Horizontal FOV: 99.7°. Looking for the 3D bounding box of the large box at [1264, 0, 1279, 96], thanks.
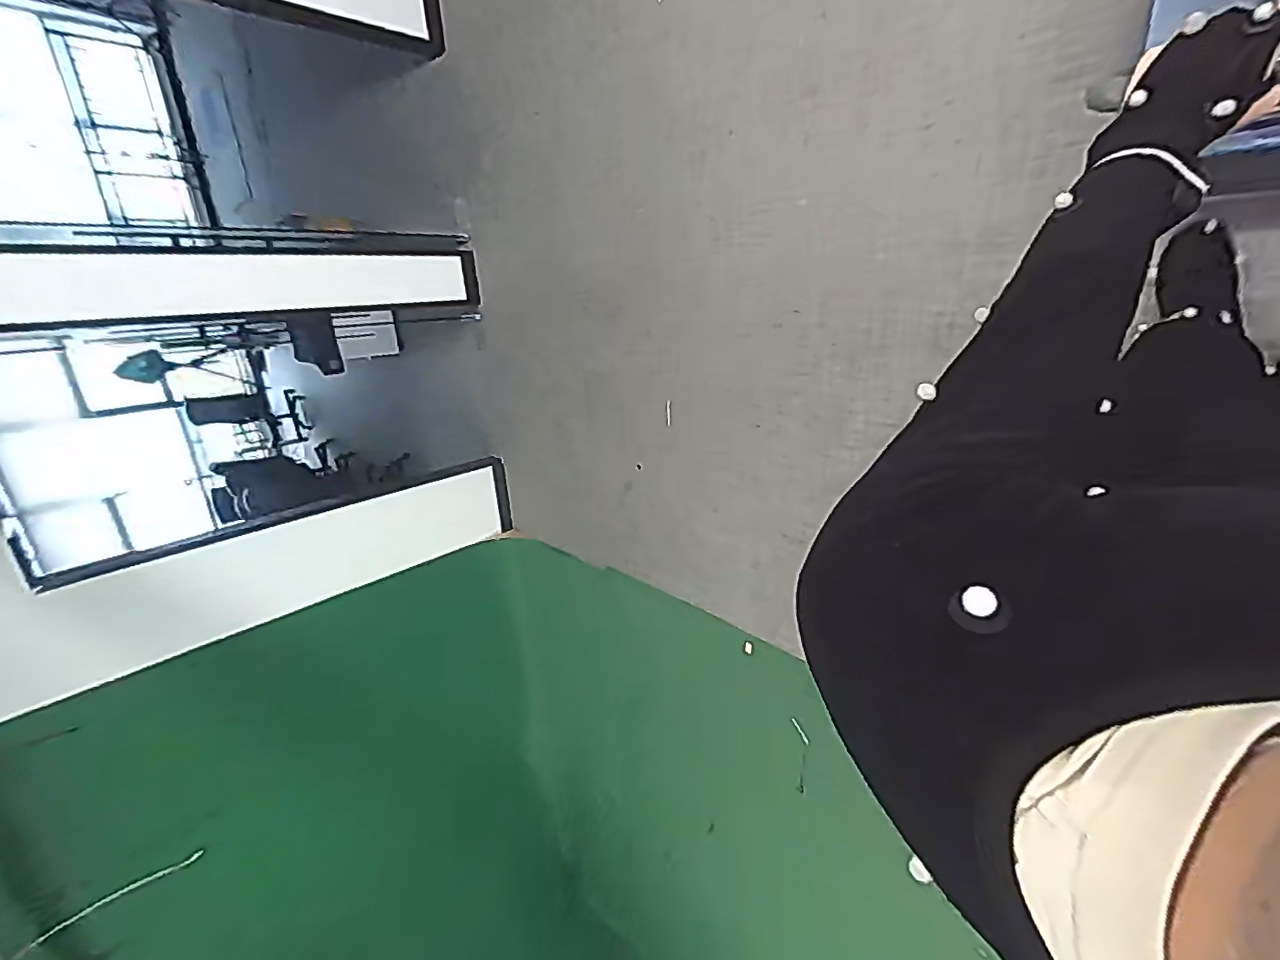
[{"bbox_3d":[0.990,-0.747,0.615,0.320,0.320,0.408,14,113,43],"label":"large box"}]
